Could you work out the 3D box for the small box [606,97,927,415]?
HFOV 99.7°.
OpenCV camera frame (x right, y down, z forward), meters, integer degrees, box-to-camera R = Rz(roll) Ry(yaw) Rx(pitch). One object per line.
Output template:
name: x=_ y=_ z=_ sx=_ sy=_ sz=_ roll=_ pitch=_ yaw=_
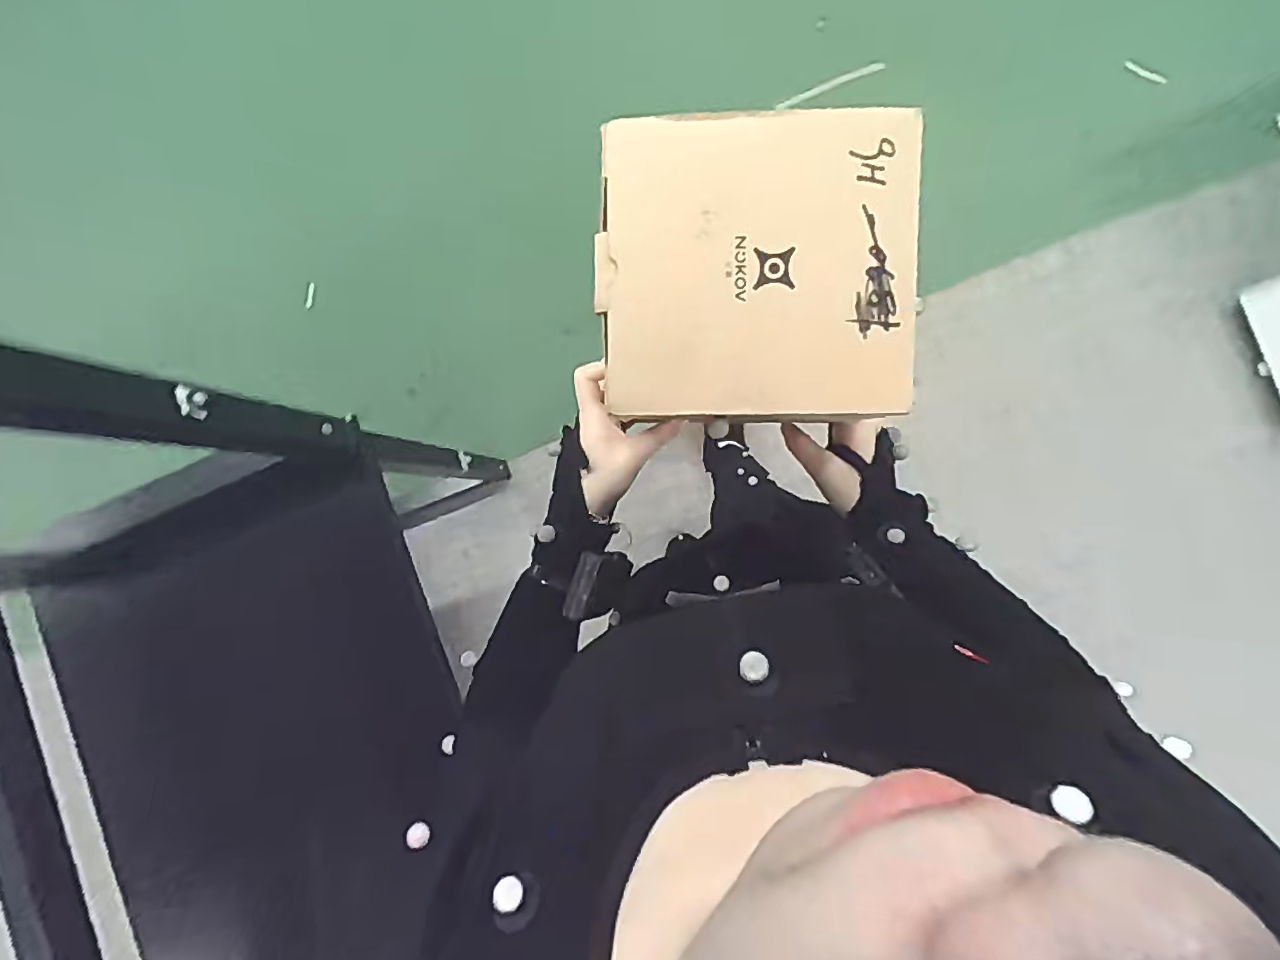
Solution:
small box: x=0.074 y=-0.133 z=0.384 sx=0.179 sy=0.176 sz=0.168 roll=1 pitch=94 yaw=3
